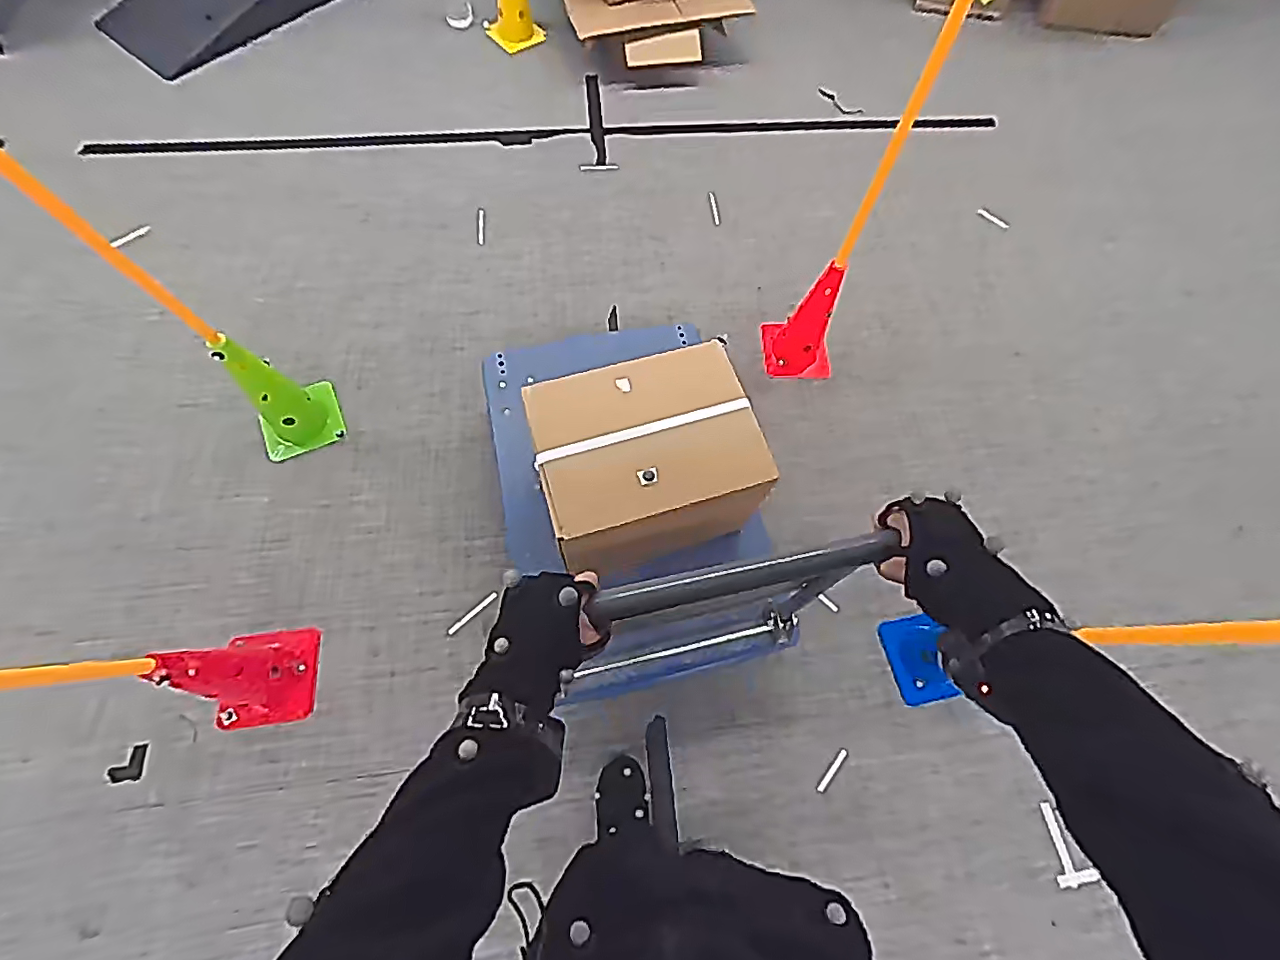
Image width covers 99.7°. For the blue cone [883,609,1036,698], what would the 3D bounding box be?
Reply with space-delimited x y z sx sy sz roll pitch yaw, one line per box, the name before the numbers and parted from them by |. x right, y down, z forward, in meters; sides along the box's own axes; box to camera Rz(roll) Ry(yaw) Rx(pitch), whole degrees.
blue cone | 0.717 0.357 1.175 0.193 0.380 0.192 -8 67 -7

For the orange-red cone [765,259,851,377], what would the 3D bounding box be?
orange-red cone | 0.494 -0.467 1.494 0.199 0.360 0.198 2 68 -4
